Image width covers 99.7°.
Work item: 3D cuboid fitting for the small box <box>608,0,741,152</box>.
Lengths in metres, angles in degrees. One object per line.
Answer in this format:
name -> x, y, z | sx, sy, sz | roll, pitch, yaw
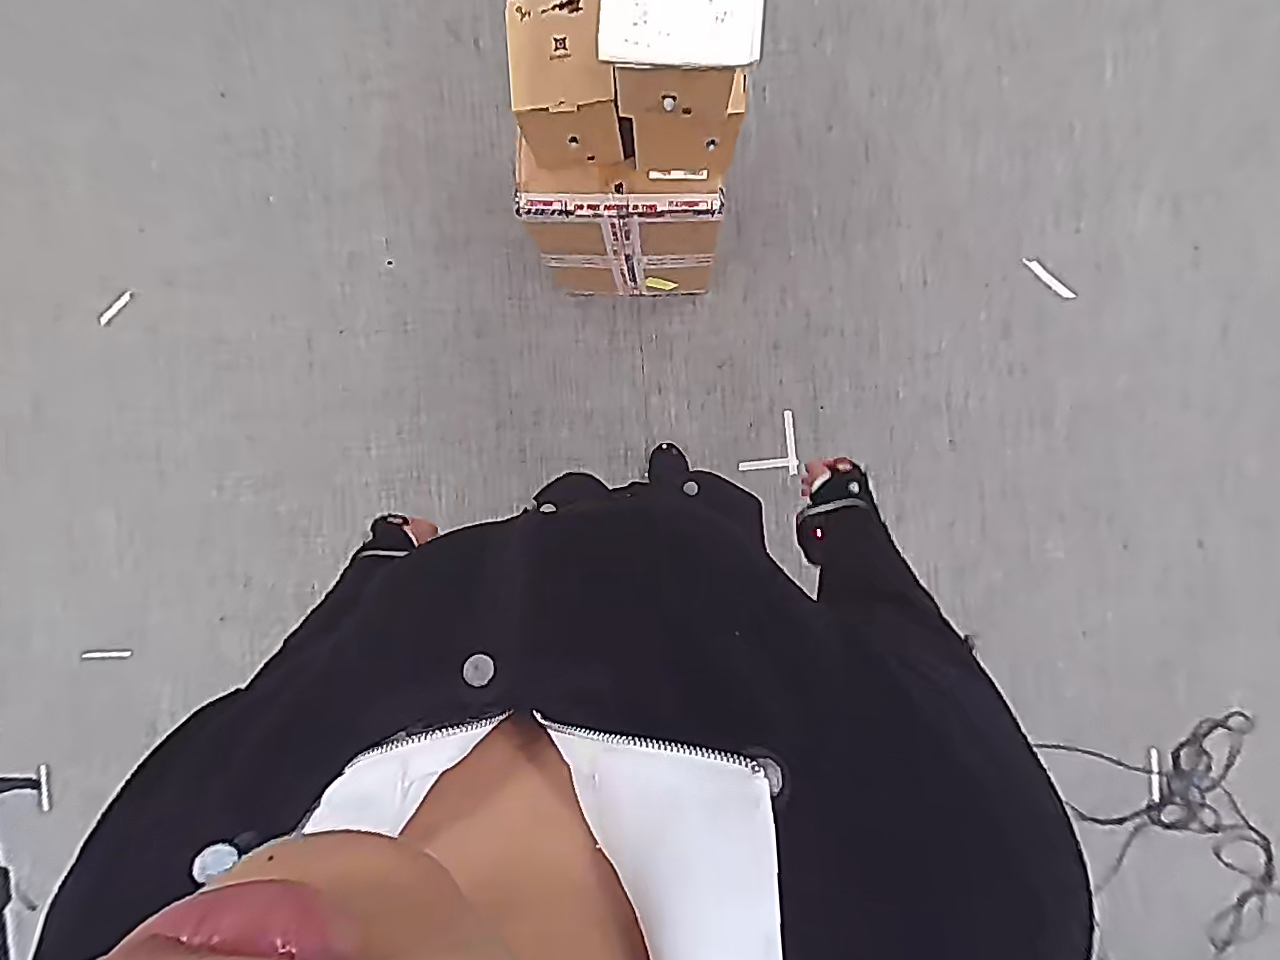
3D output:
small box -> 0.046, -0.603, 0.763 | 0.168, 0.176, 0.179 | 4, 93, 1
